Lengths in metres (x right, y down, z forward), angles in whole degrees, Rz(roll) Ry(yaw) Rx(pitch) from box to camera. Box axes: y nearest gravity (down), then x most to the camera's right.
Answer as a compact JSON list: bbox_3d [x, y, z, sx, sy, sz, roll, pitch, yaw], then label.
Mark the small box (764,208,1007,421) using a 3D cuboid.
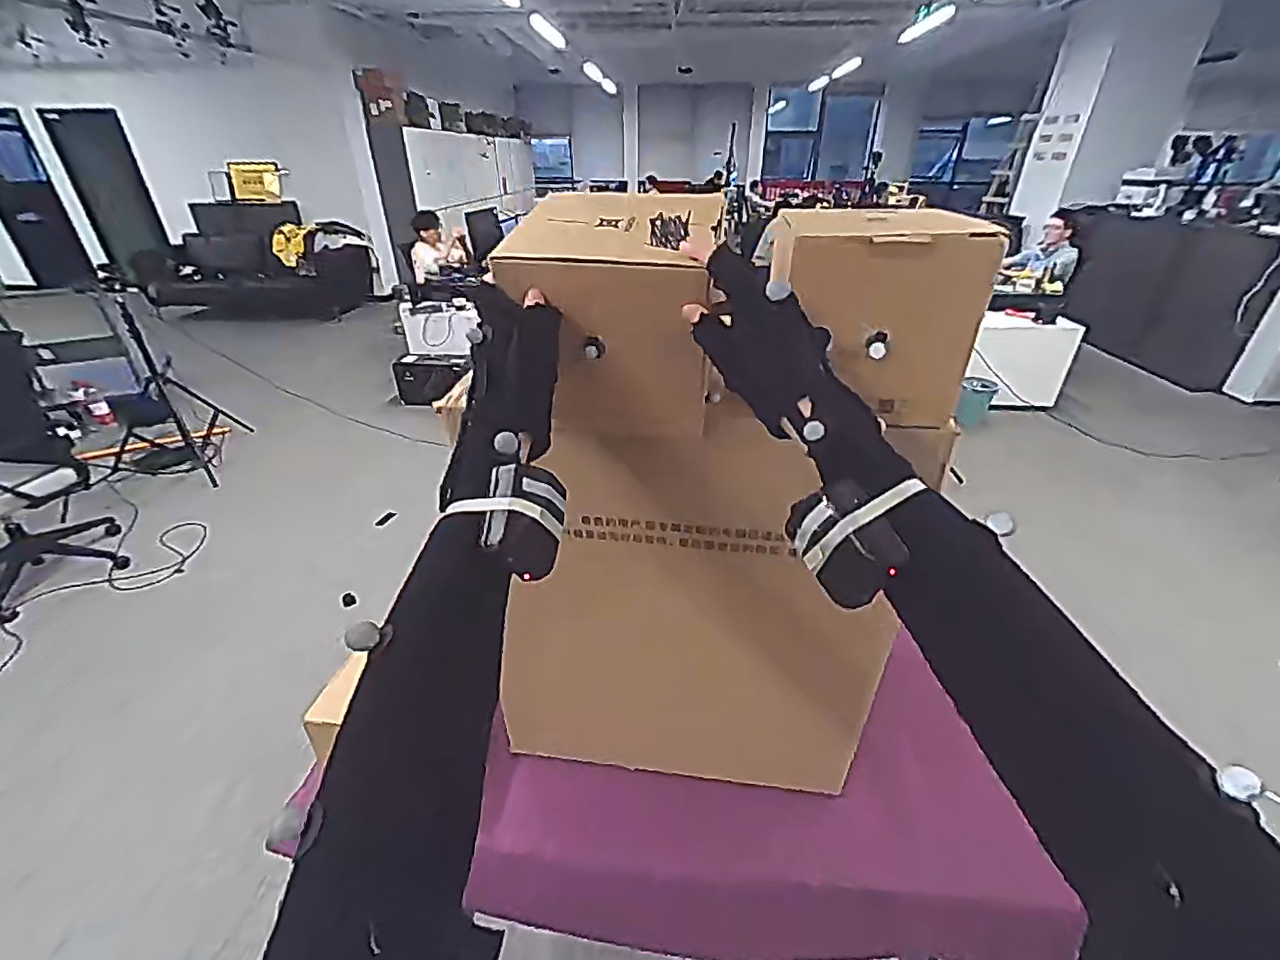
[{"bbox_3d":[0.220,-0.170,0.543,0.168,0.176,0.179,5,33,6],"label":"small box"}]
